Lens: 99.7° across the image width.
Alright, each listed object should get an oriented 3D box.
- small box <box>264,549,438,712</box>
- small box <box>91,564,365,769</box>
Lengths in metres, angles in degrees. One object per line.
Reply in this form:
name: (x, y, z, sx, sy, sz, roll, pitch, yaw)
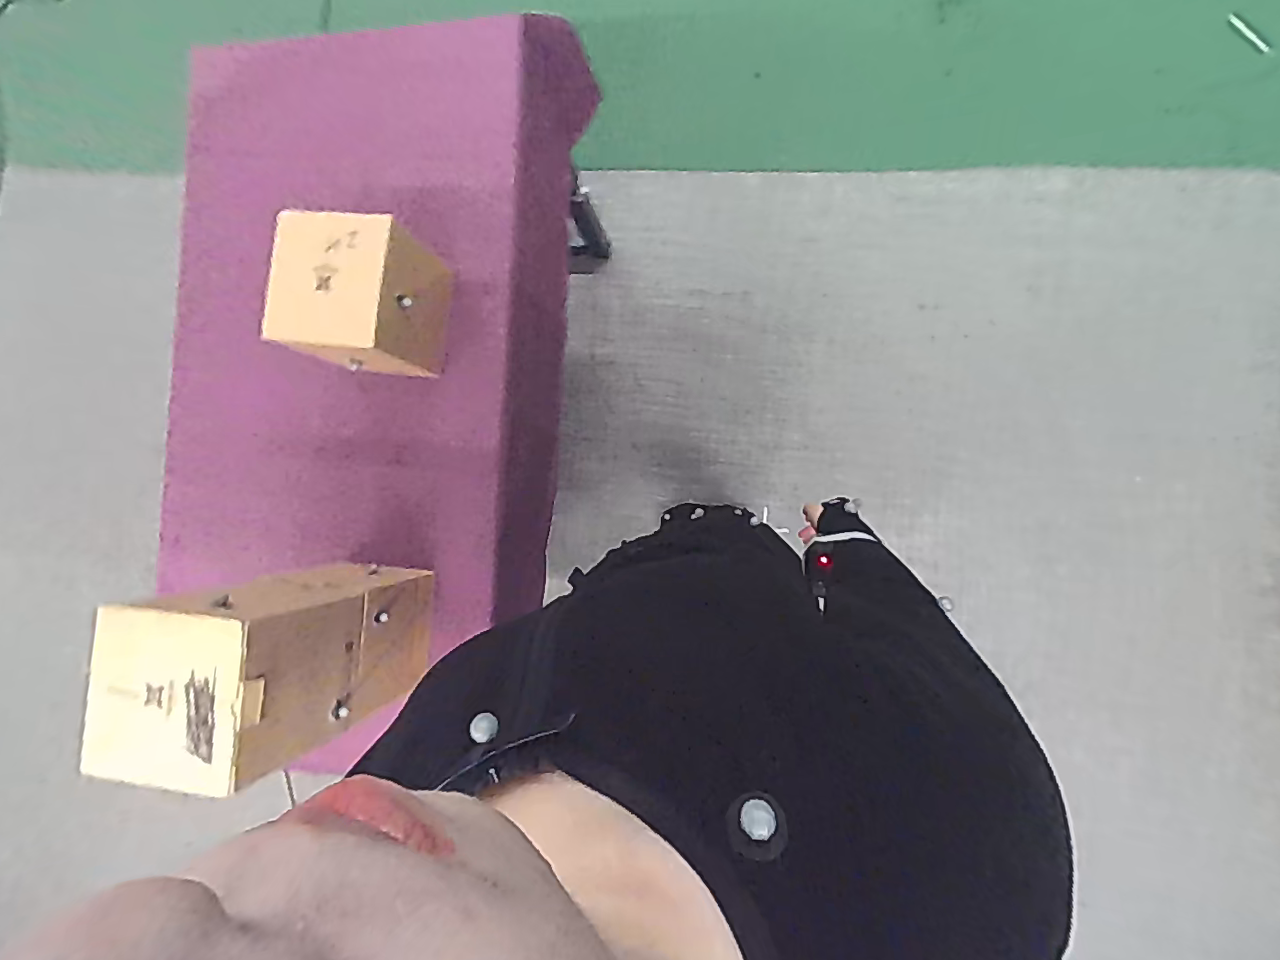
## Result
small box: (-0.413, 0.201, 0.773, 0.168, 0.176, 0.179, 7, 87, 11)
small box: (-0.447, 0.192, 0.613, 0.179, 0.176, 0.168, 7, 87, 12)
